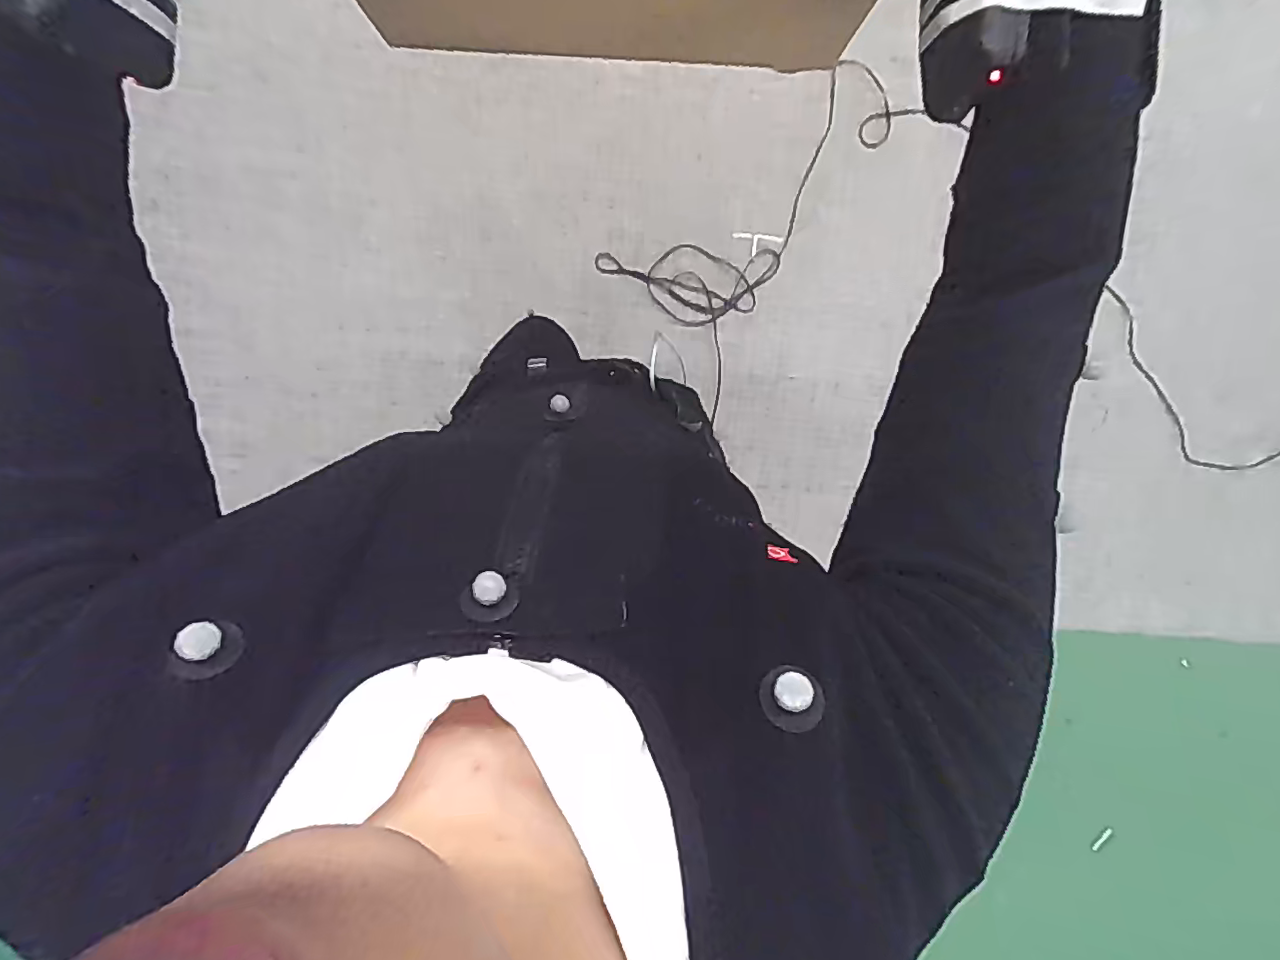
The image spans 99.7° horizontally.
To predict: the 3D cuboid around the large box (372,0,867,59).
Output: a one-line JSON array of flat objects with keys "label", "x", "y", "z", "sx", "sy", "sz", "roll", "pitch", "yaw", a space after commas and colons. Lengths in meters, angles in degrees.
[{"label": "large box", "x": -0.013, "y": -0.509, "z": 0.320, "sx": 0.408, "sy": 0.320, "sz": 0.320, "roll": 1, "pitch": 101, "yaw": -3}]
